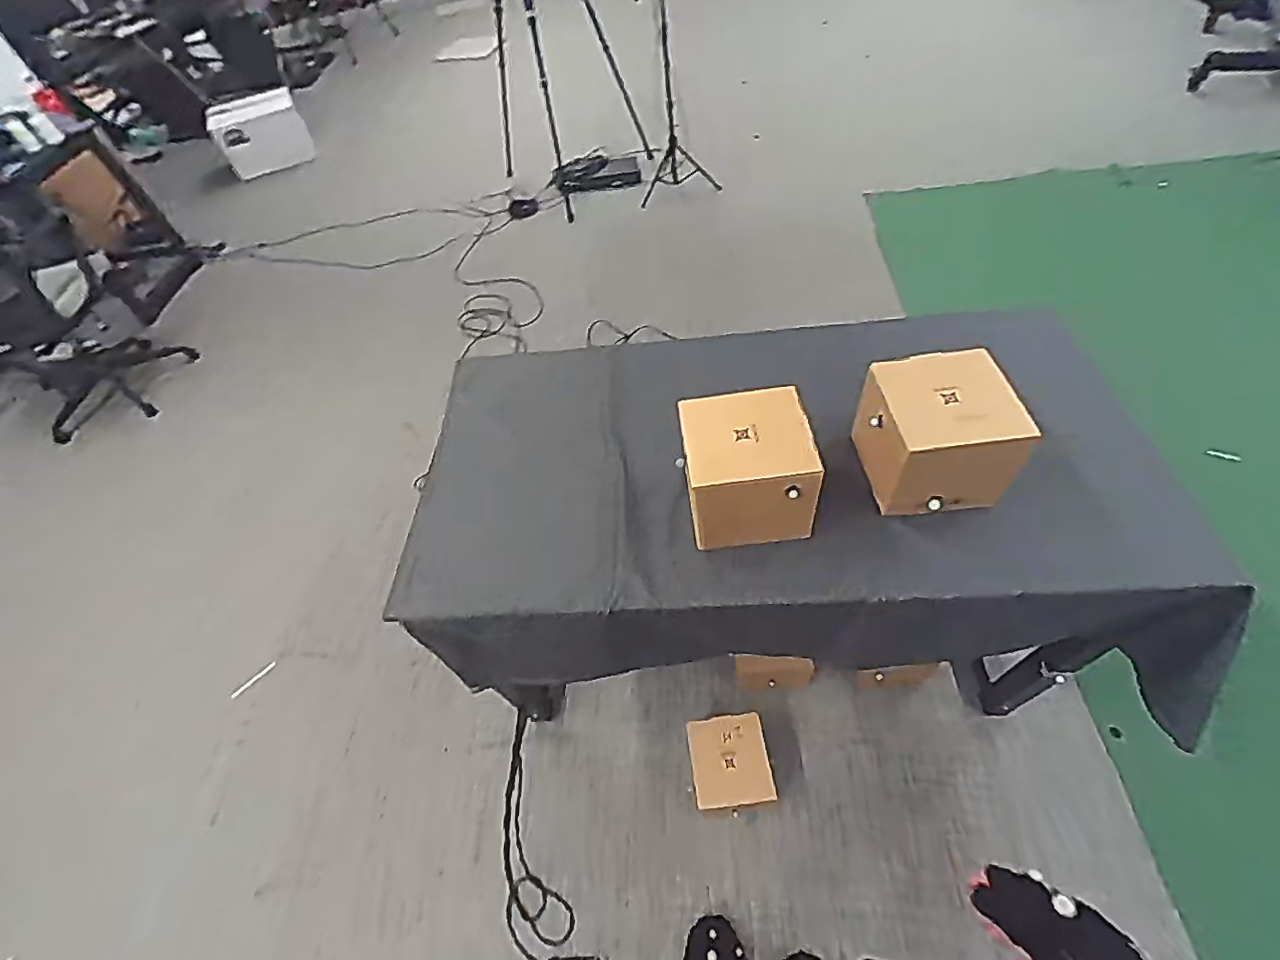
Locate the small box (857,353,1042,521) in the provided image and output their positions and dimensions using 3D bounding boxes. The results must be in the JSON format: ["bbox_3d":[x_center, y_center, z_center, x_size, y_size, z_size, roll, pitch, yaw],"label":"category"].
[{"bbox_3d":[0.437,-0.060,0.803,0.168,0.176,0.179,-6,53,6],"label":"small box"}]

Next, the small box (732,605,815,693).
[{"bbox_3d":[0.328,0.430,1.367,0.179,0.176,0.168,-6,53,6],"label":"small box"}]

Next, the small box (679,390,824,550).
[{"bbox_3d":[0.158,-0.008,0.811,0.179,0.176,0.168,-7,52,3],"label":"small box"}]
